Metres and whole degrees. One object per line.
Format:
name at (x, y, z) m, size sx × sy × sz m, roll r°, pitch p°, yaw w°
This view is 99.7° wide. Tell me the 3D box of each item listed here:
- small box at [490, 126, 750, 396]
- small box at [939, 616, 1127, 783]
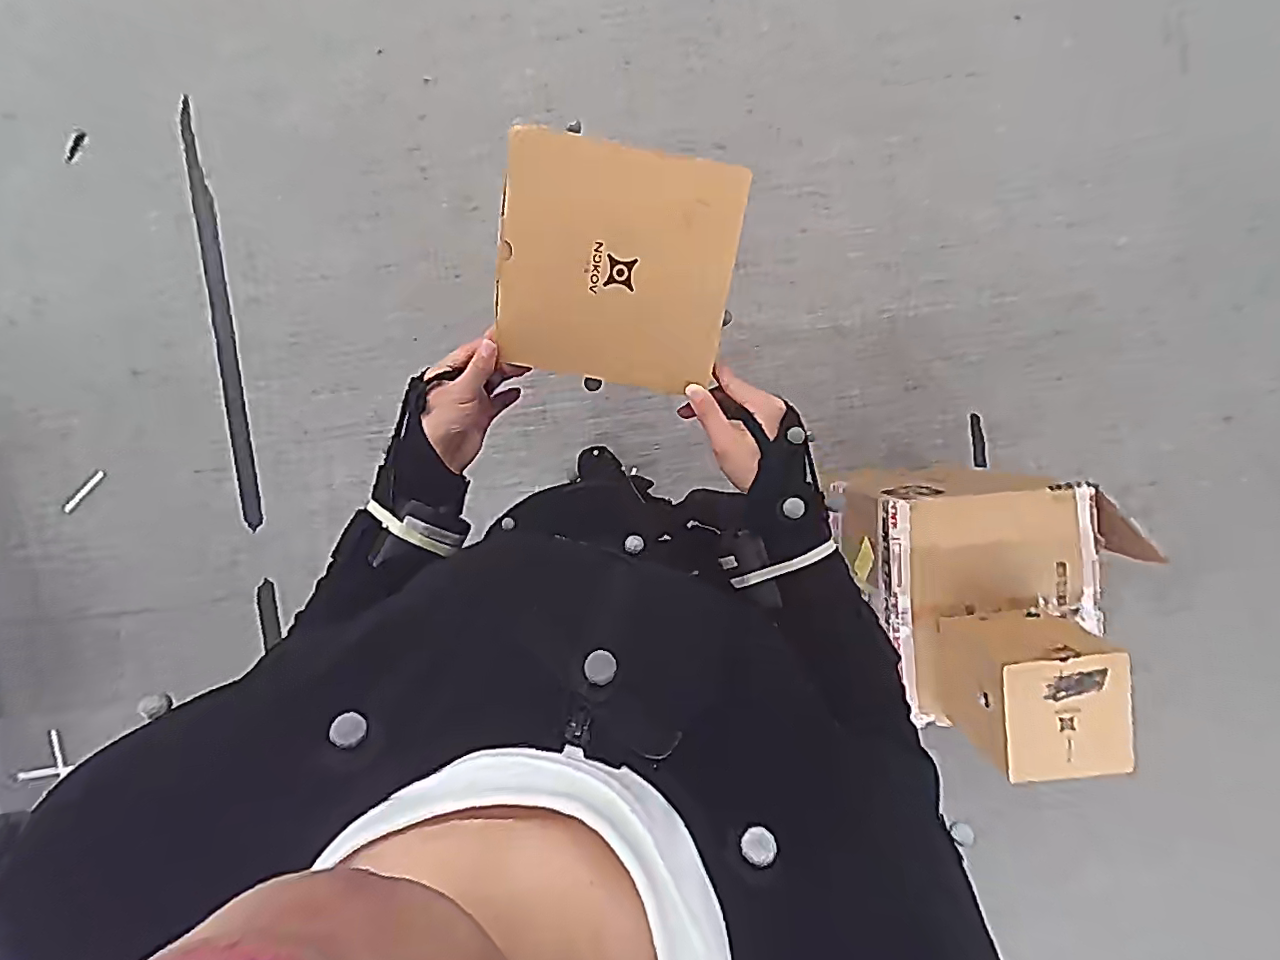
small box at (-0.018, -0.185, 0.477) m, size 0.179 × 0.176 × 0.168 m, roll 10°, pitch 111°, yaw -1°
small box at (0.573, 0.313, 0.809) m, size 0.168 × 0.176 × 0.179 m, roll -7°, pitch 96°, yaw 3°
